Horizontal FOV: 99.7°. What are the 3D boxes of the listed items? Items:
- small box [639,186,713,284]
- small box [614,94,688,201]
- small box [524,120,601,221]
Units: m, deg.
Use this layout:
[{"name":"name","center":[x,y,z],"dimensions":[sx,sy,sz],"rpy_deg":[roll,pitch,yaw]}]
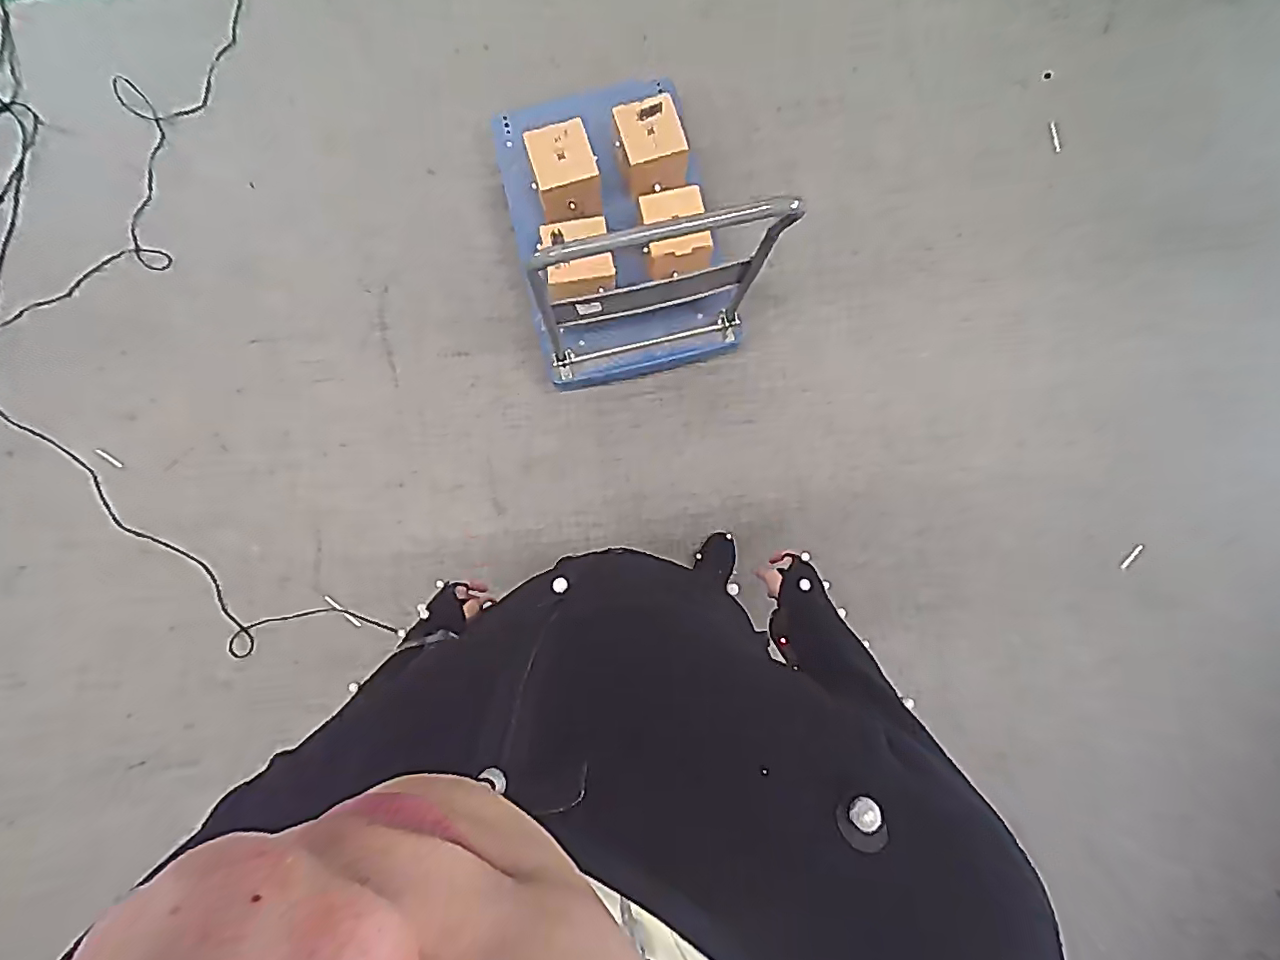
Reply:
[{"name":"small box","center":[0.094,-0.679,1.513],"dimensions":[0.168,0.176,0.179],"rpy_deg":[-13,84,-2]},{"name":"small box","center":[0.028,-0.940,1.541],"dimensions":[0.168,0.176,0.179],"rpy_deg":[-17,85,-2]},{"name":"small box","center":[-0.212,-0.863,1.530],"dimensions":[0.168,0.176,0.179],"rpy_deg":[-17,84,-3]}]
